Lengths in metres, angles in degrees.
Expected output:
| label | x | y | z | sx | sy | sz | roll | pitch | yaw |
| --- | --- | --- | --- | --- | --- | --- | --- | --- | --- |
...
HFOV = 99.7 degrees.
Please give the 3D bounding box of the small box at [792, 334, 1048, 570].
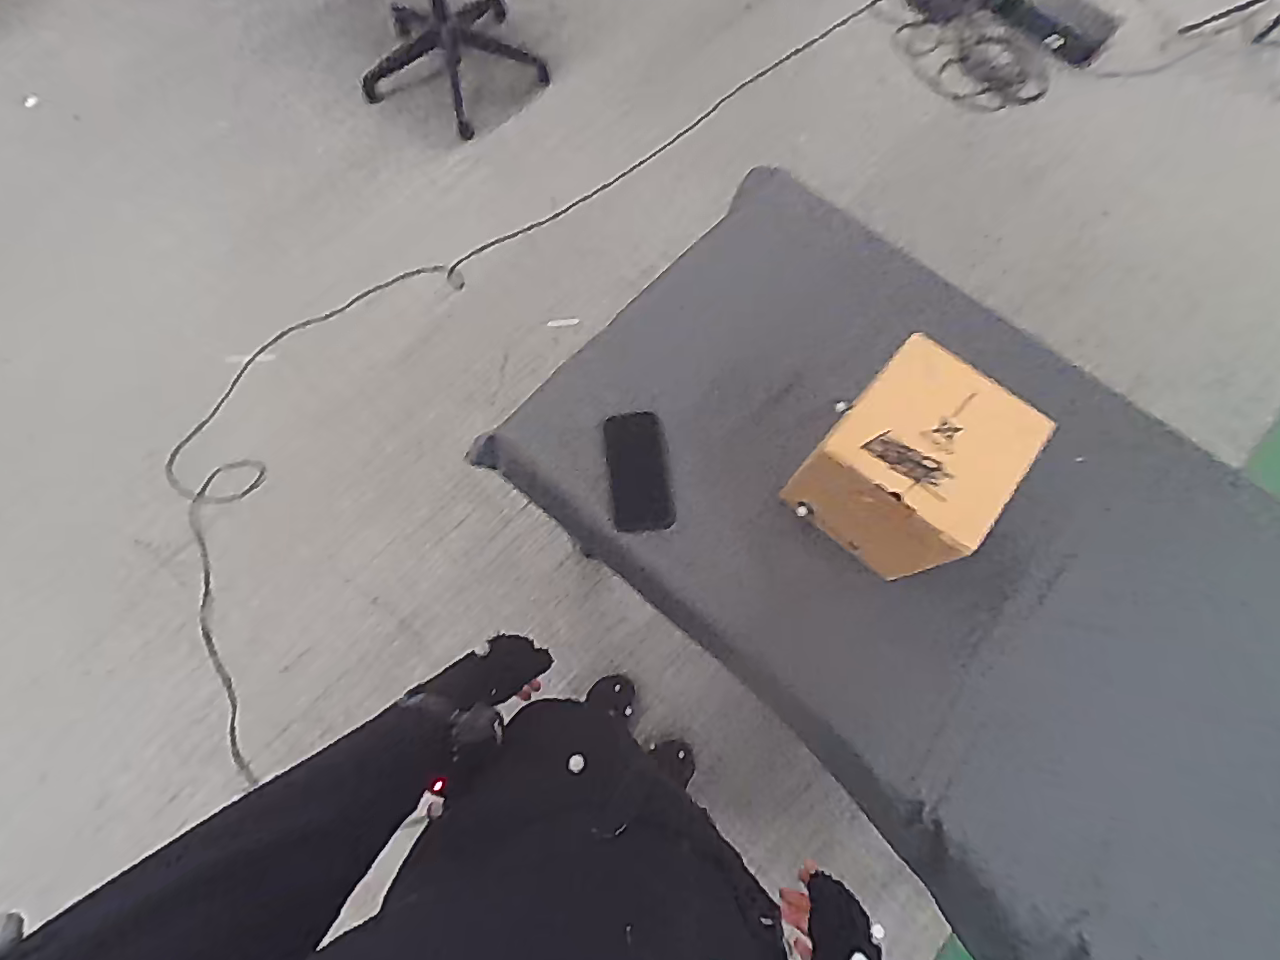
| label | x | y | z | sx | sy | sz | roll | pitch | yaw |
| --- | --- | --- | --- | --- | --- | --- | --- | --- | --- |
| small box | 0.294 | -0.020 | 0.613 | 0.168 | 0.176 | 0.179 | 39 | 74 | 10 |
